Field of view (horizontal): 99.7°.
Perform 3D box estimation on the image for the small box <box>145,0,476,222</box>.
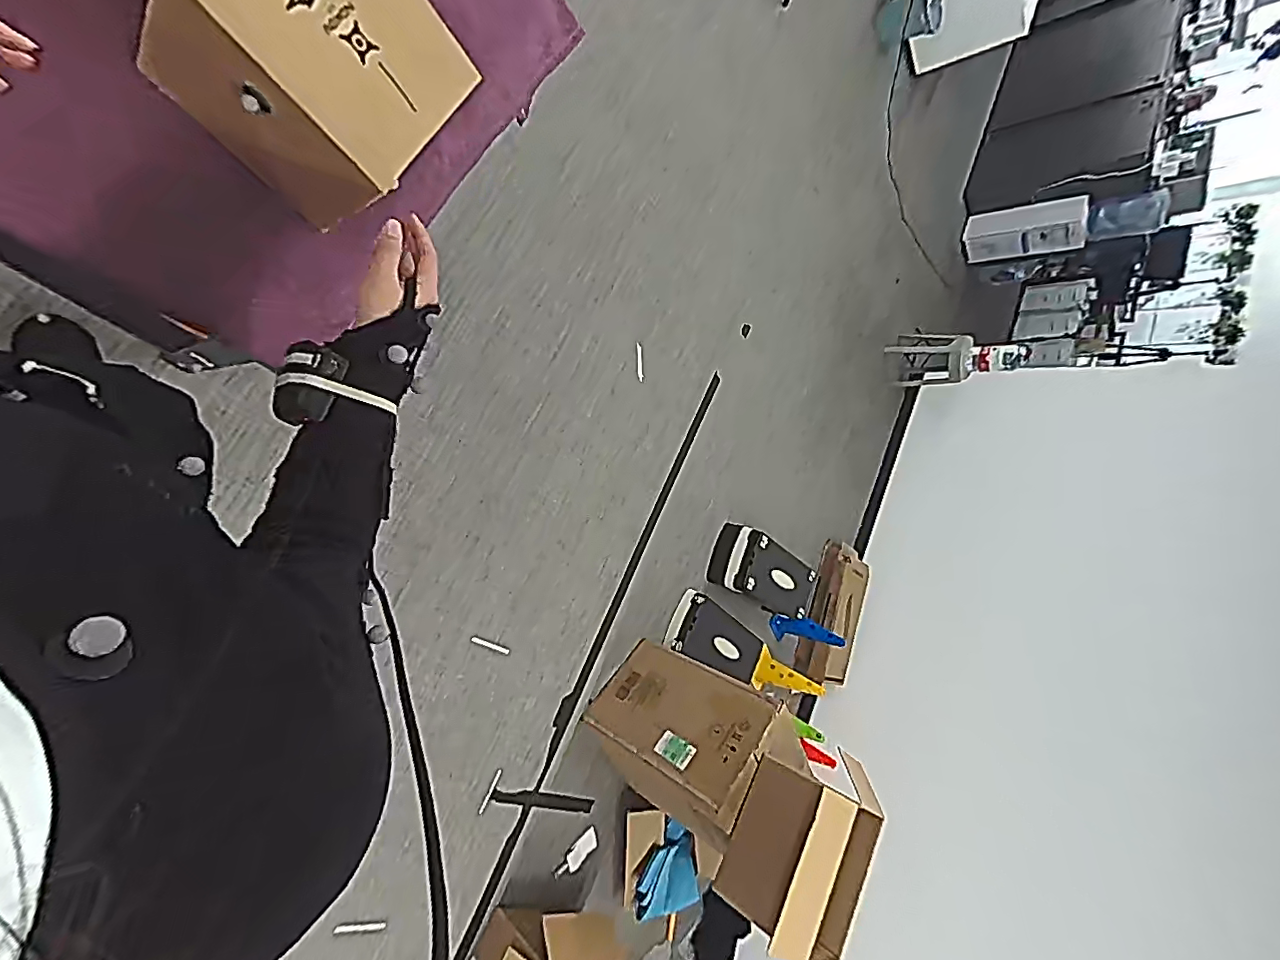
[{"bbox_3d":[-0.296,-0.371,0.492,0.179,0.176,0.168,45,64,-42],"label":"small box"}]
